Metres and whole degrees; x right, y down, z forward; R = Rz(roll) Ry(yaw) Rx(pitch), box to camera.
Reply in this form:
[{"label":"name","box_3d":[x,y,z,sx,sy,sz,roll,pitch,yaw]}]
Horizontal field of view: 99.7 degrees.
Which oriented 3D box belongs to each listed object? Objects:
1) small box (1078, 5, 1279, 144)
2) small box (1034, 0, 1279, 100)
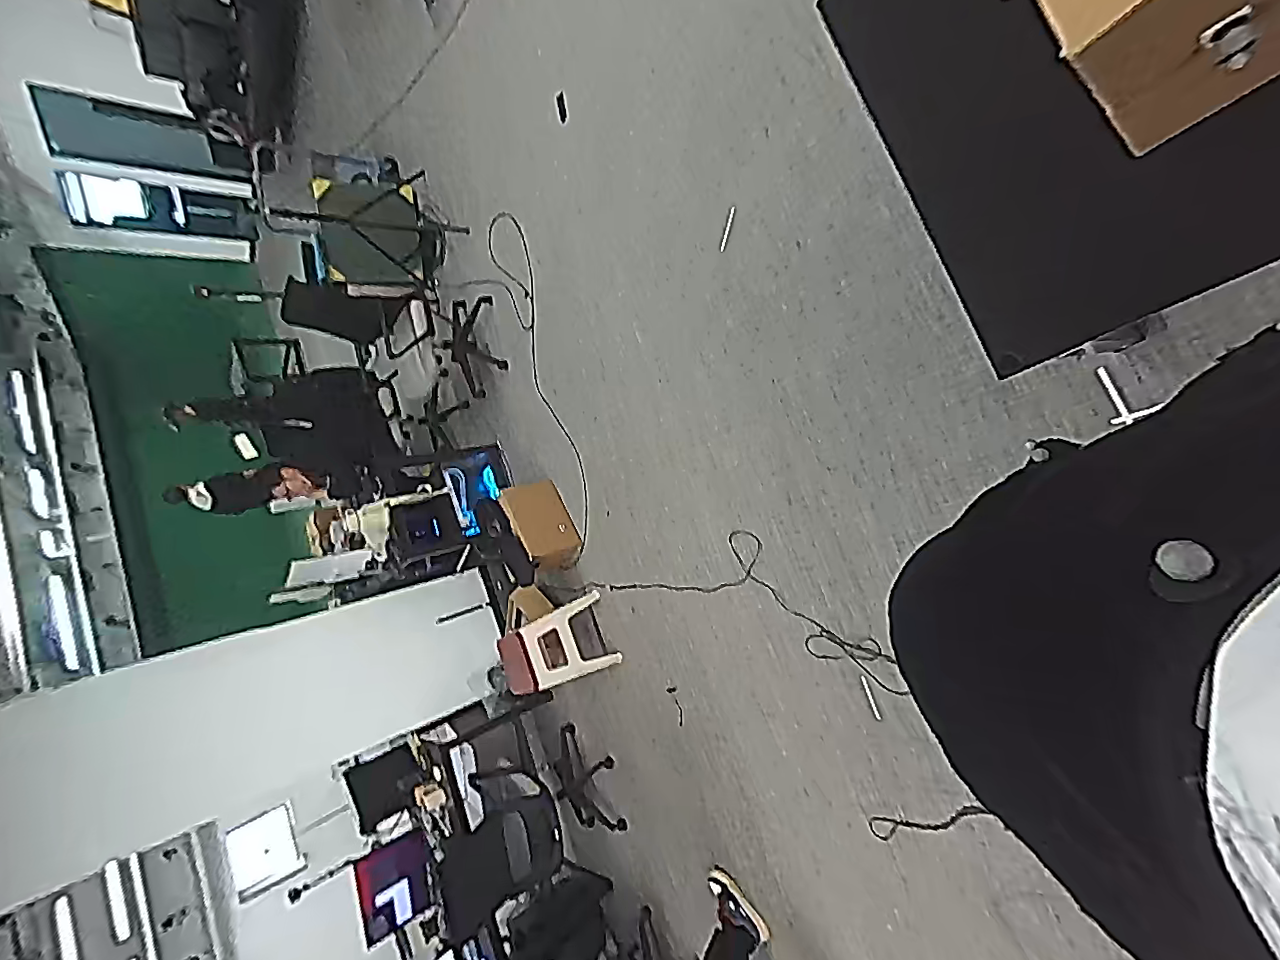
[{"label":"small box","box_3d":[0.478,-0.428,0.456,0.179,0.176,0.168,-28,78,49]},{"label":"small box","box_3d":[0.355,-0.398,0.354,0.168,0.176,0.179,-30,78,50]}]
